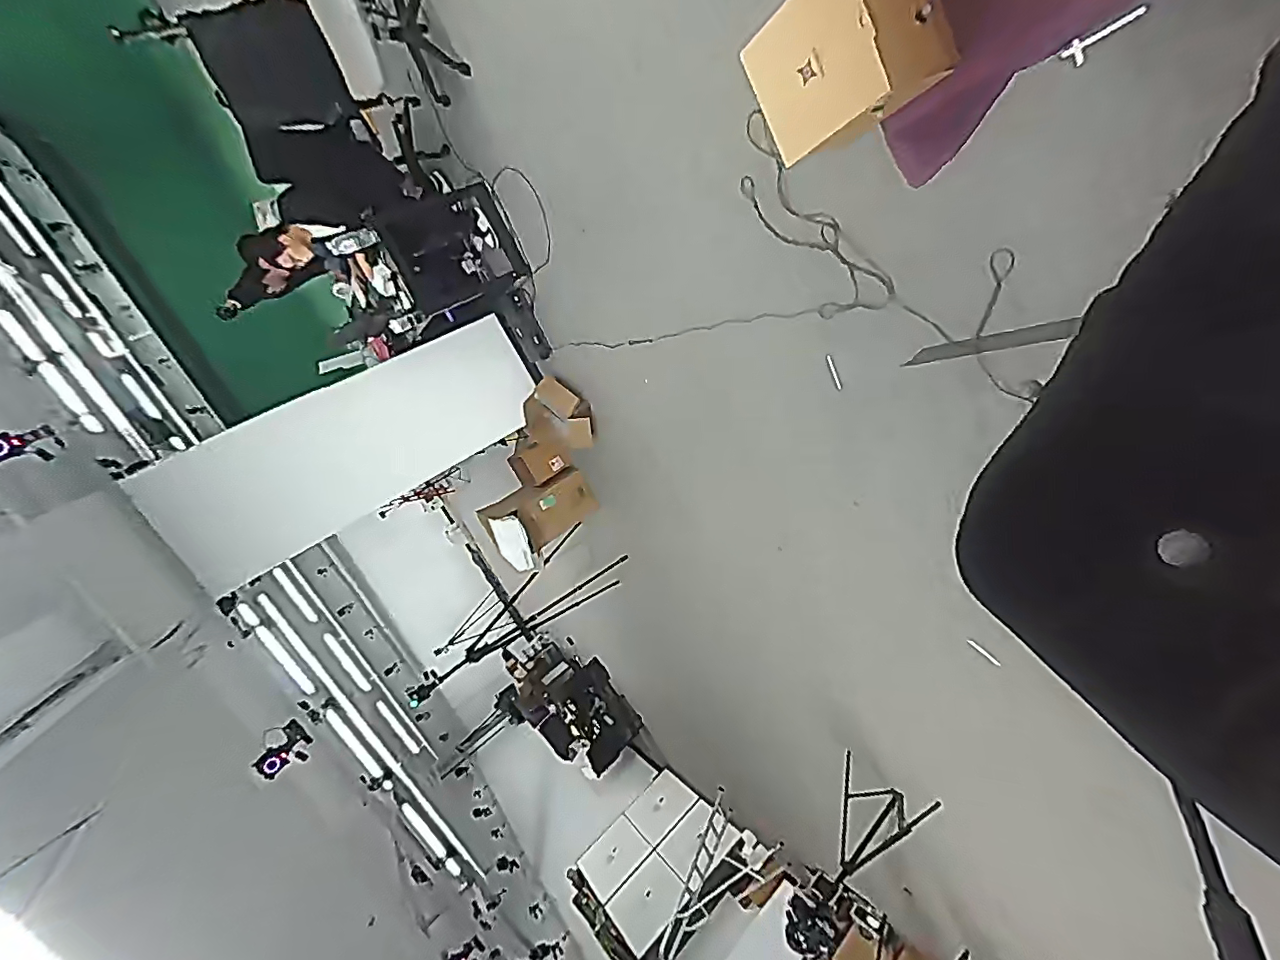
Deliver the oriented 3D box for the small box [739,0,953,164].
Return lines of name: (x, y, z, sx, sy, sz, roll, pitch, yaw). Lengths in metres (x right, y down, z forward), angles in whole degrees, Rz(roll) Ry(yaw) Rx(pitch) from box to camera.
small box: (0.274, -0.568, 0.725, 0.179, 0.176, 0.168, -6, 116, 61)
